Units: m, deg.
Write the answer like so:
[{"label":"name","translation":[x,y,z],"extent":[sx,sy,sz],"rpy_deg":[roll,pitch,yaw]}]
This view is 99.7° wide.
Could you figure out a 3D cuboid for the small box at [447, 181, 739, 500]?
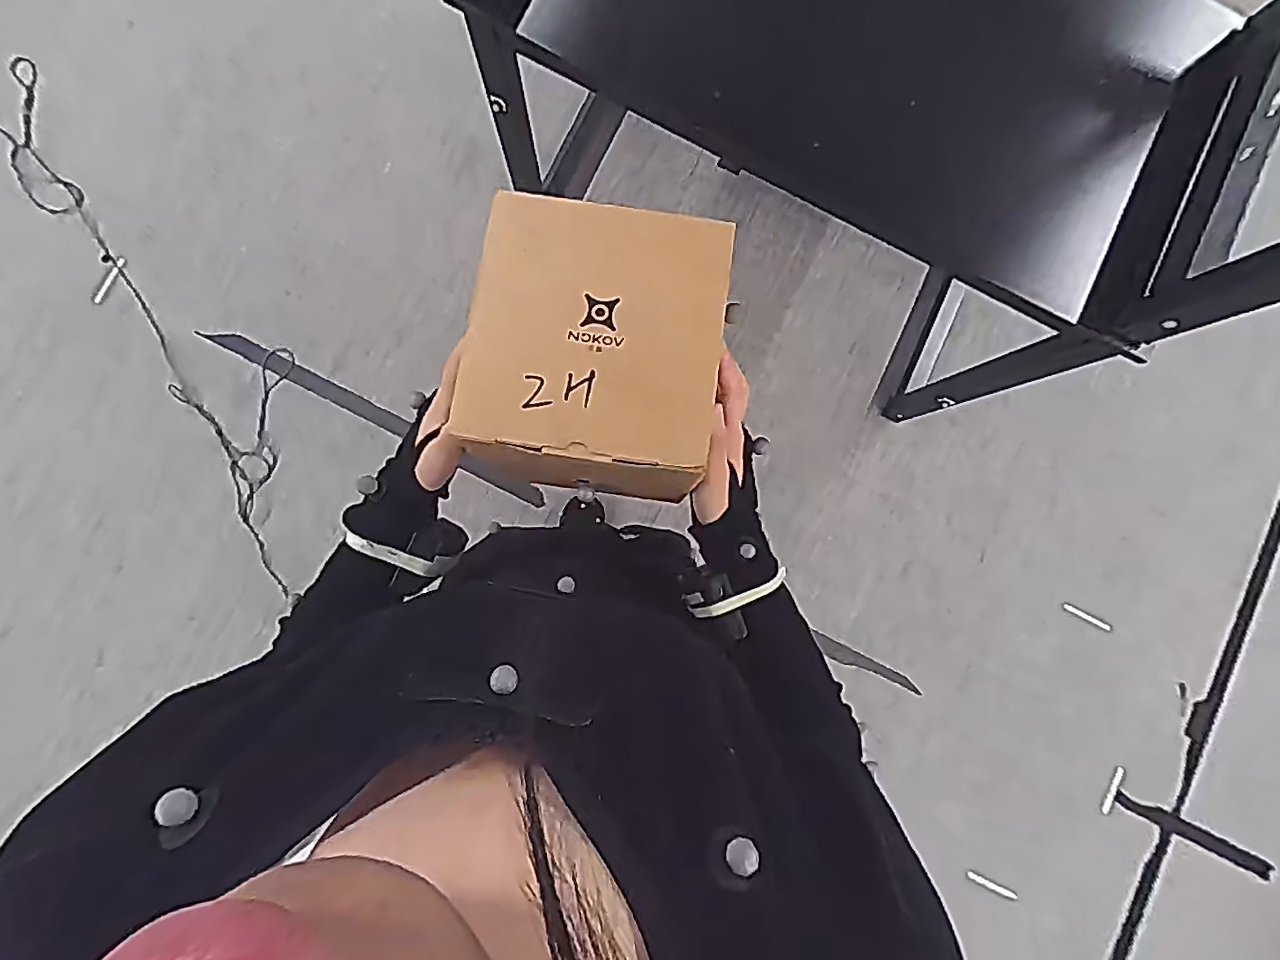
[{"label":"small box","translation":[-0.029,-0.089,0.424],"extent":[0.168,0.176,0.179],"rpy_deg":[8,81,0]}]
